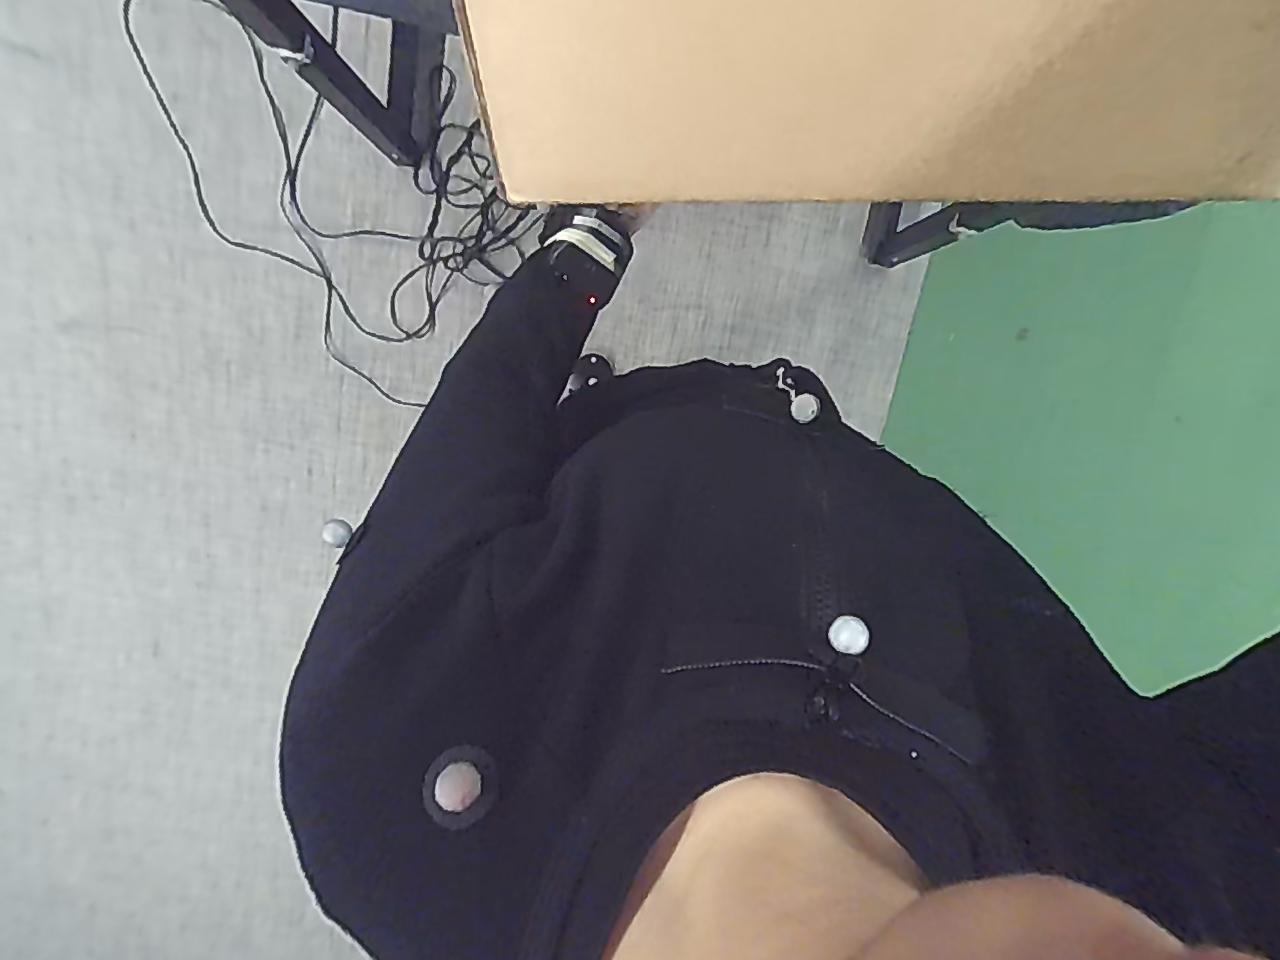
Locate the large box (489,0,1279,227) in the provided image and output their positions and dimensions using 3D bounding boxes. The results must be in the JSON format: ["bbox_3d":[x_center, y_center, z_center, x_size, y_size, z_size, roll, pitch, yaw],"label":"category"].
[{"bbox_3d":[0.146,-0.343,0.274,0.408,0.320,0.320,3,132,10],"label":"large box"}]
